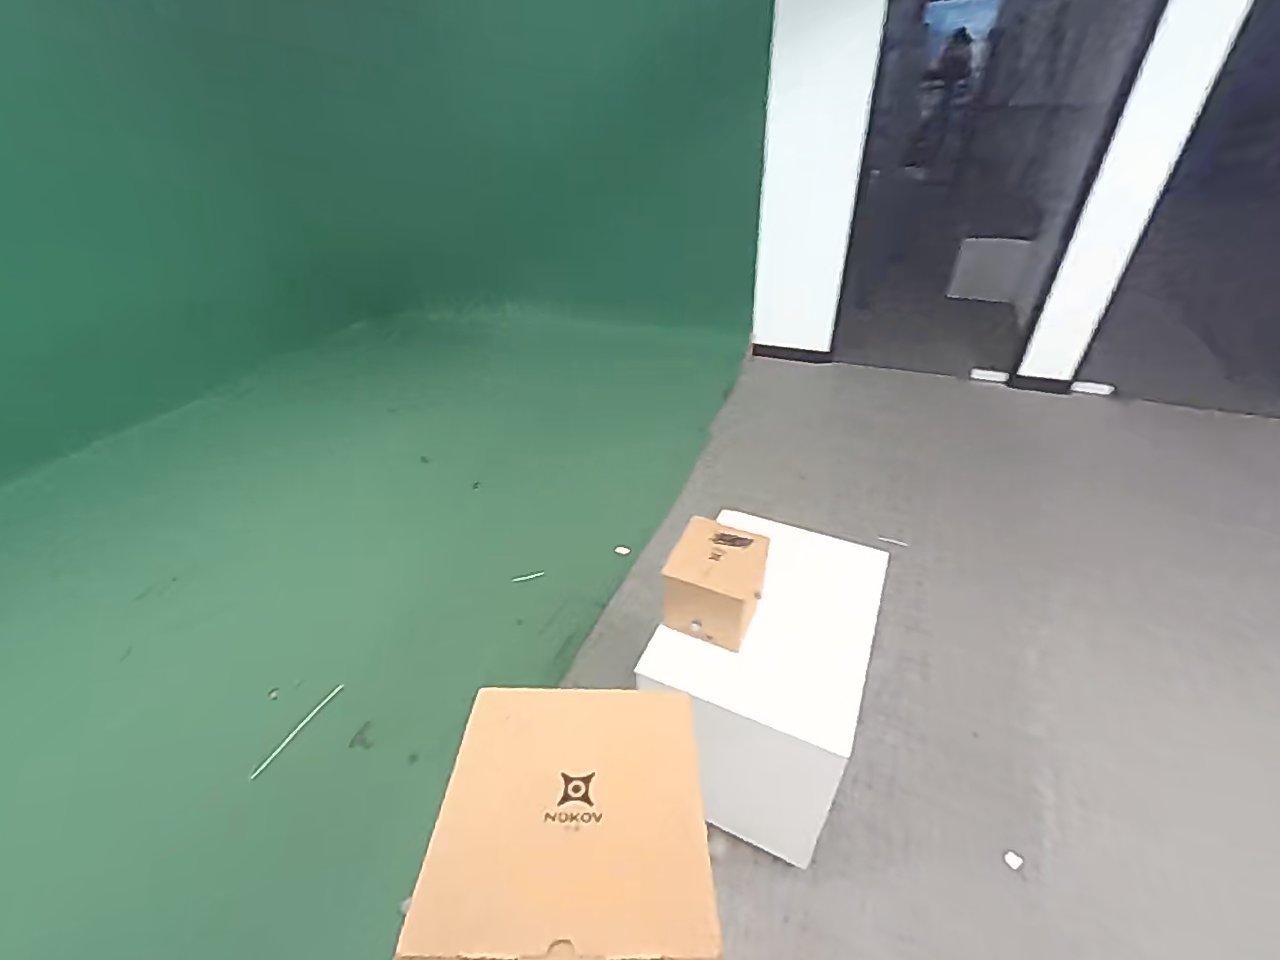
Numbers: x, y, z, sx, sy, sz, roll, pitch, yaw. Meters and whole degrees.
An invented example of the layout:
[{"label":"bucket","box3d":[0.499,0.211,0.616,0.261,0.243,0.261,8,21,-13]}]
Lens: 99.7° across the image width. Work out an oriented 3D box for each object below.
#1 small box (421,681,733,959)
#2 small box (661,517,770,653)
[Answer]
[{"label":"small box","box3d":[-0.037,0.273,0.385,0.168,0.176,0.179,2,26,-2]},{"label":"small box","box3d":[0.151,0.209,1.087,0.168,0.176,0.179,15,43,22]}]
